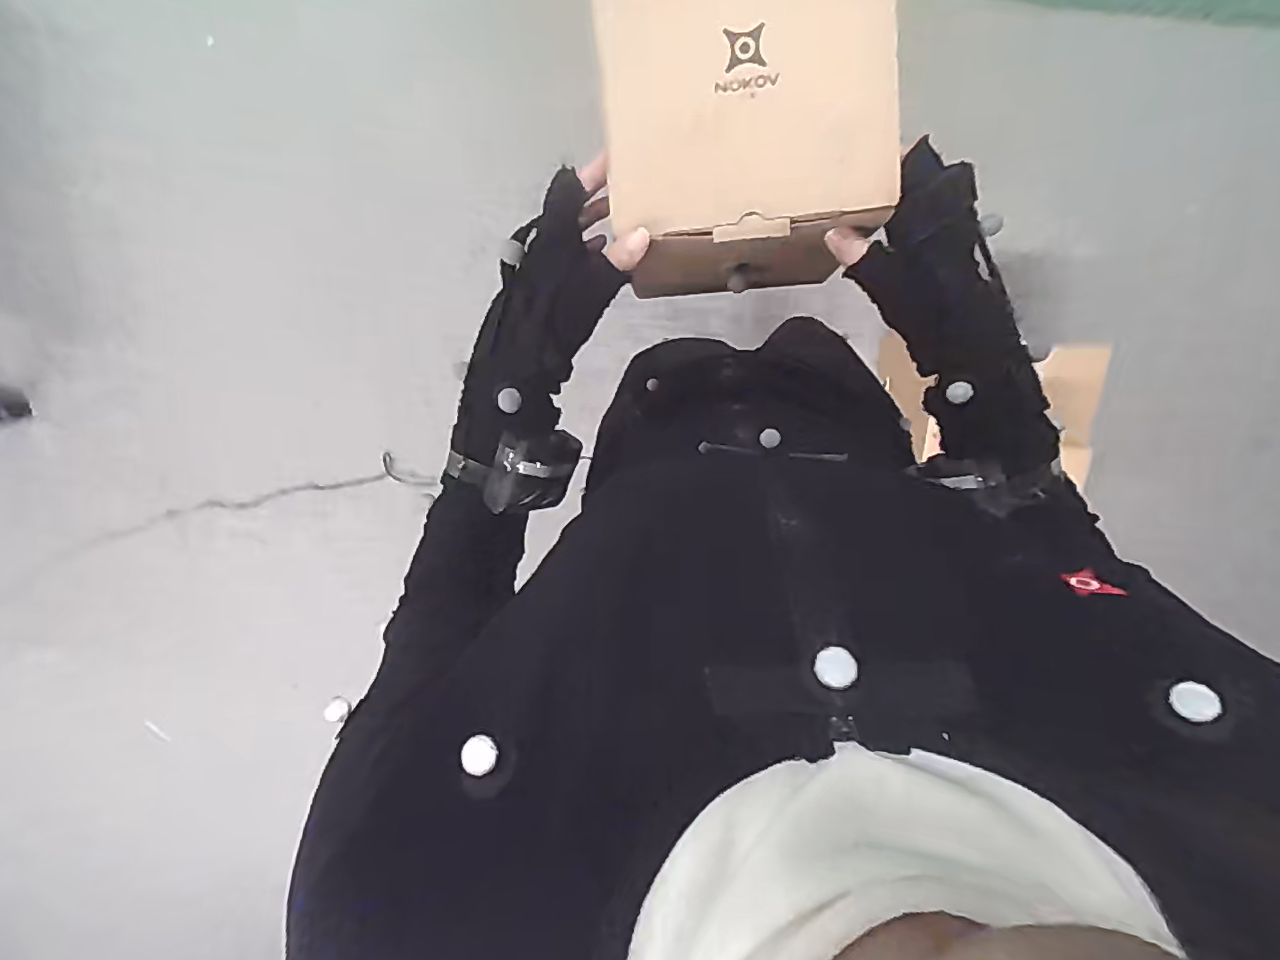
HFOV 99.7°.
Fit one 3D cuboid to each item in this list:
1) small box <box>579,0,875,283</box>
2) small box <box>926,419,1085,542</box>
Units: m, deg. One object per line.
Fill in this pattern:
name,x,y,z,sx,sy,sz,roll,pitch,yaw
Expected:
small box,0.058,-0.250,0.391,0.168,0.176,0.179,-5,98,6
small box,0.662,-0.006,1.006,0.168,0.176,0.179,6,107,3
